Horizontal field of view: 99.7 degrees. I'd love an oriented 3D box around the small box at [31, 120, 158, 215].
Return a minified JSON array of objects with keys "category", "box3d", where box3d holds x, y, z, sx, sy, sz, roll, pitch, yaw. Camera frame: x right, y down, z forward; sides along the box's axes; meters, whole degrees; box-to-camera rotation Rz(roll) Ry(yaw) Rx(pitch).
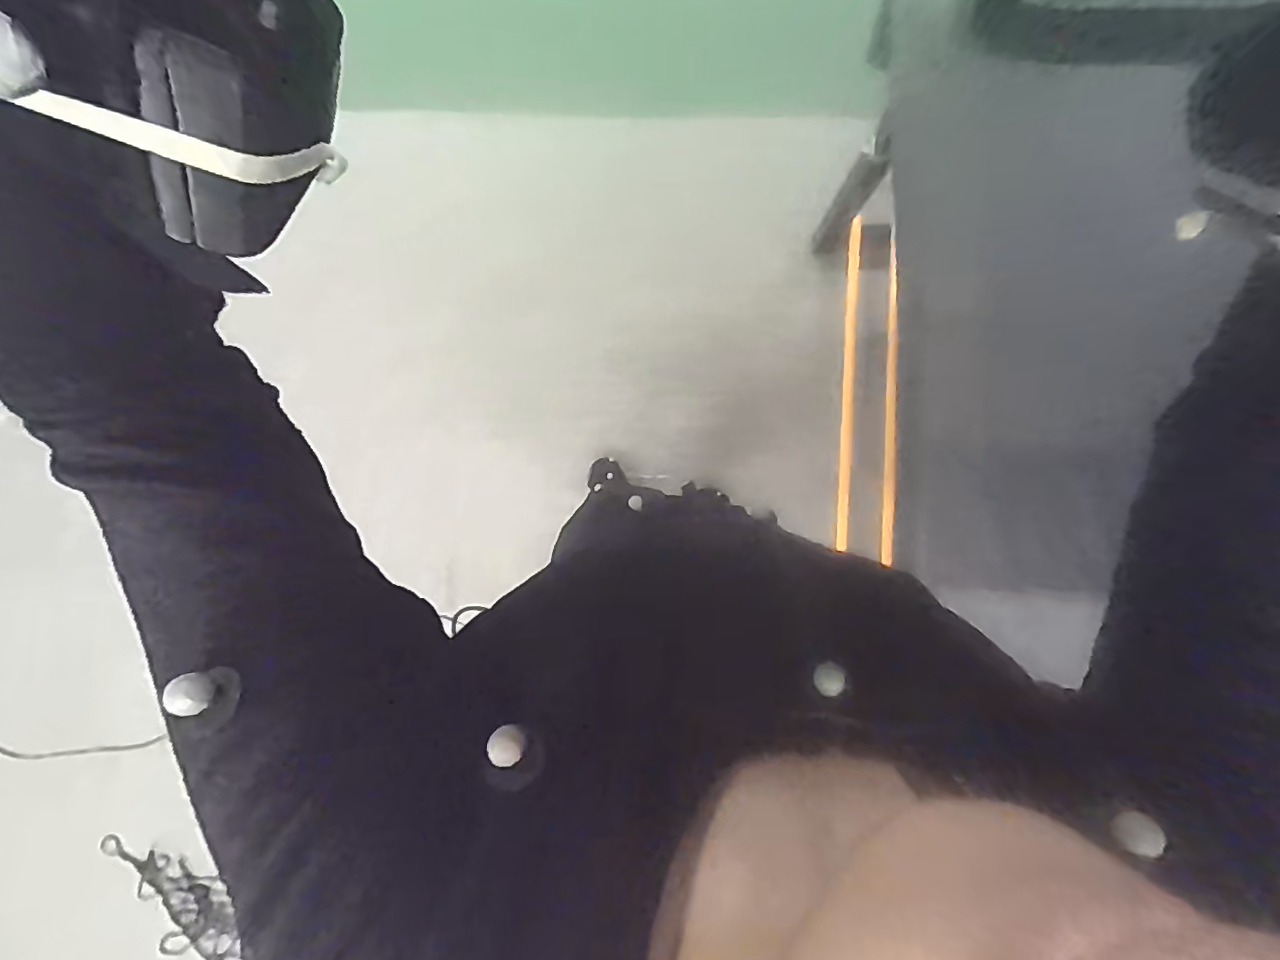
[{"category":"small box","box3d":[-1.506,-0.859,1.500,0.179,0.176,0.168,6,89,2]}]
